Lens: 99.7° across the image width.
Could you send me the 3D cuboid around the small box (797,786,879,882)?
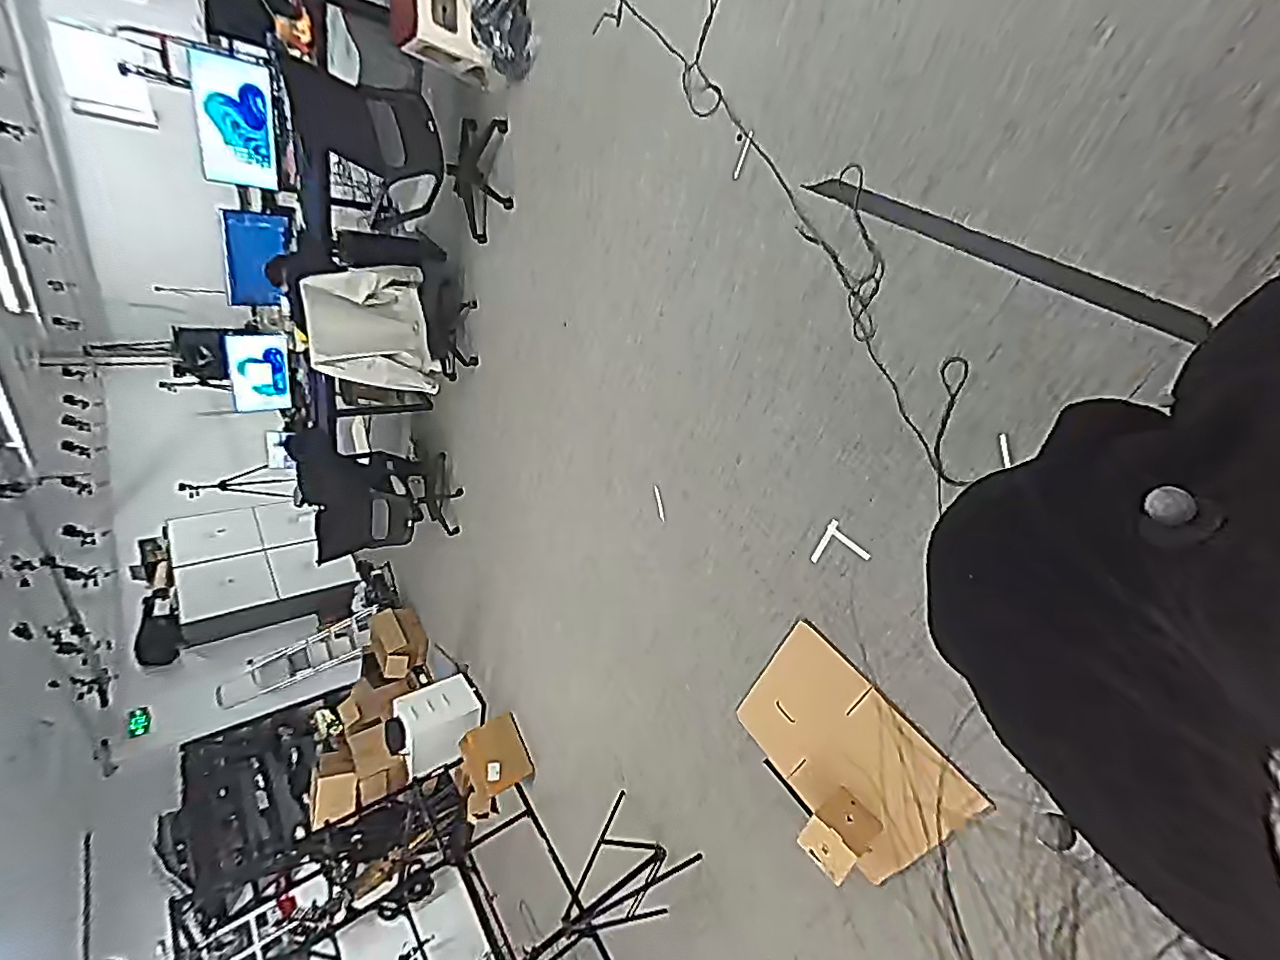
[{"bbox_3d":[0.655,1.153,1.775,0.168,0.176,0.179,38,126,38],"label":"small box"}]
